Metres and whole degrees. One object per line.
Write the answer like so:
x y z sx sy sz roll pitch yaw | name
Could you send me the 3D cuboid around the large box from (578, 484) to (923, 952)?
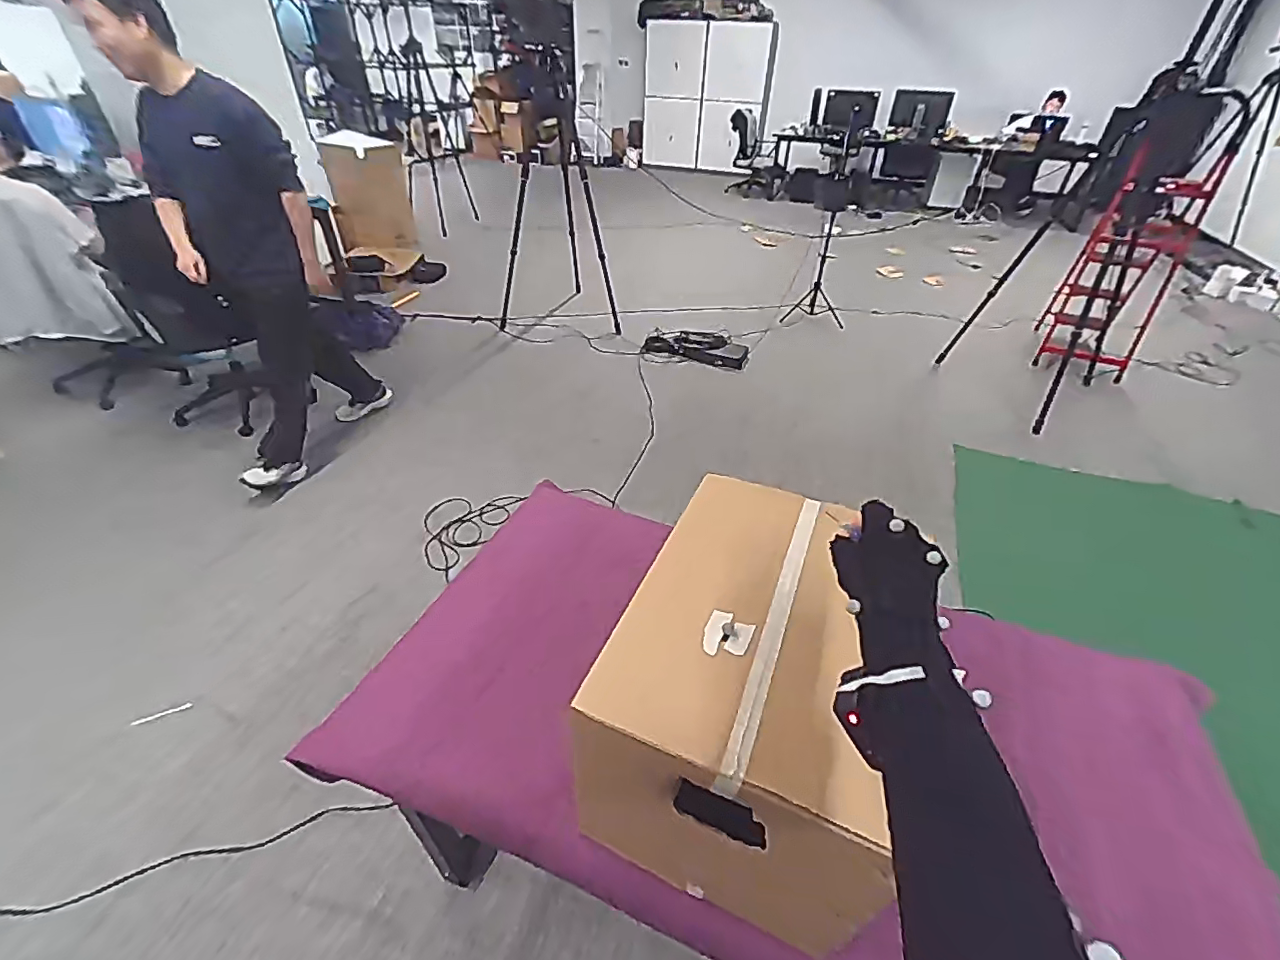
0.149 0.274 0.709 0.320 0.320 0.408 17 41 18 | large box
